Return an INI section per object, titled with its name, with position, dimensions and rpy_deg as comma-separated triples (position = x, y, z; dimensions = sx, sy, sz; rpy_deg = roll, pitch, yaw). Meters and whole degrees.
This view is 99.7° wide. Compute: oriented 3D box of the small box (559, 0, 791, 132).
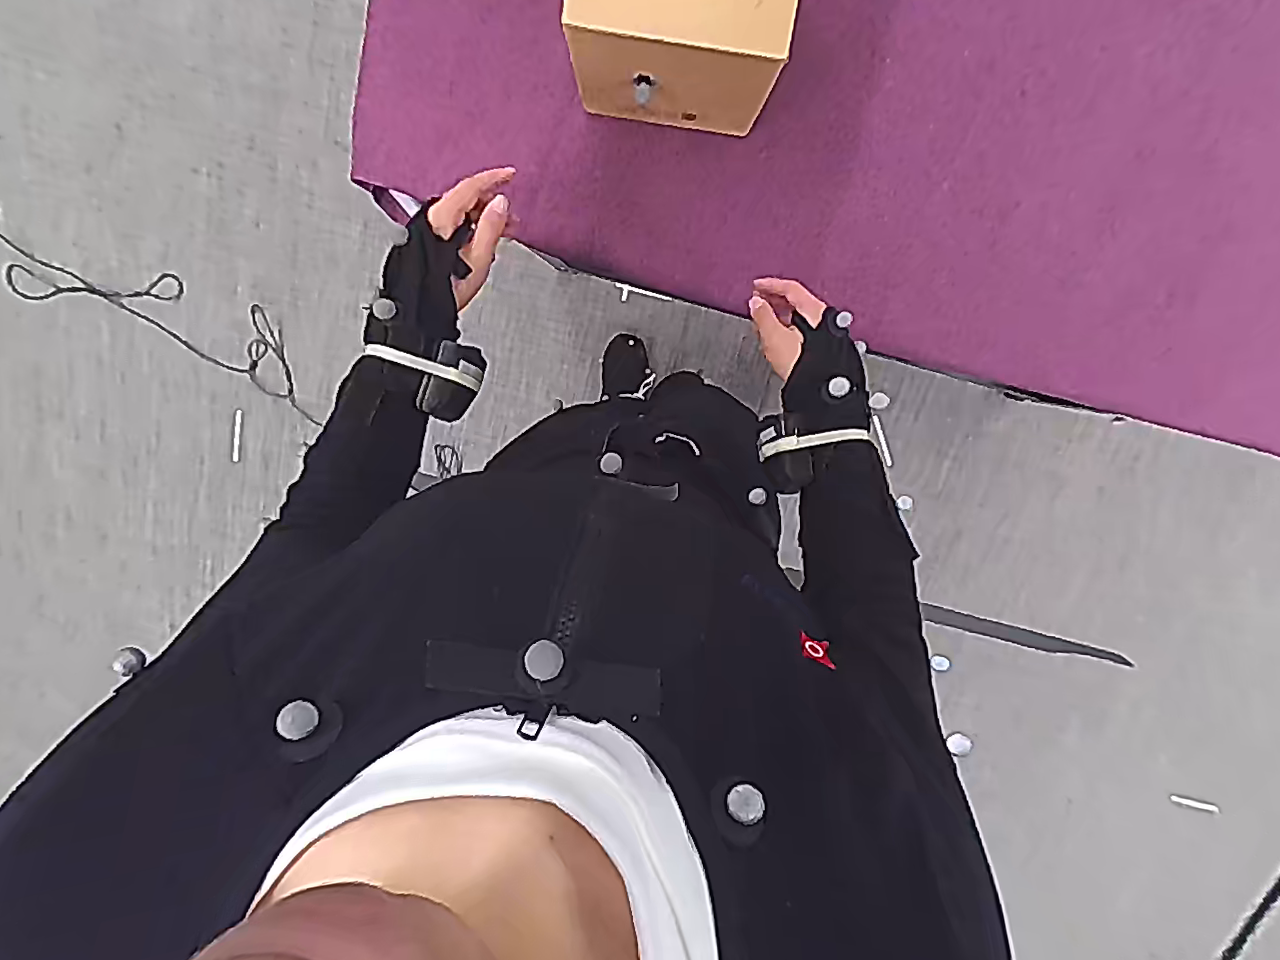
[small box]
position = 0.036, -0.417, 0.442
dimensions = 0.168, 0.176, 0.179
rpy_deg = 8, 104, -2
